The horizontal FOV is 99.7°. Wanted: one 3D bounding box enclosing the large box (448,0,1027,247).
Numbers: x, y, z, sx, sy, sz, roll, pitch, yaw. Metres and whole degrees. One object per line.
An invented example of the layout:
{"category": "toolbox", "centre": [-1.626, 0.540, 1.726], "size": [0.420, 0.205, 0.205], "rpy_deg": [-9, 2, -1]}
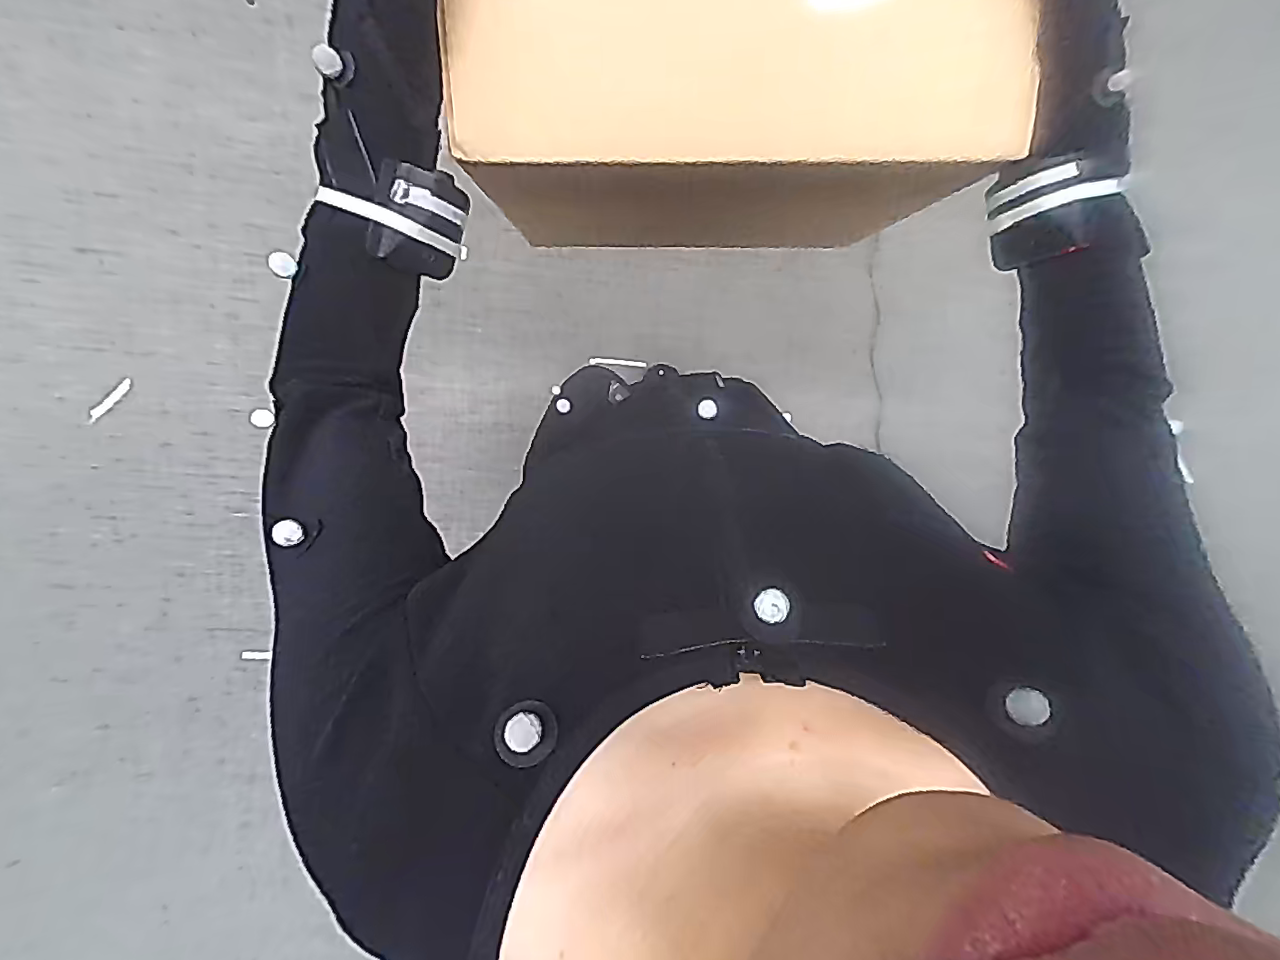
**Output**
{"category": "large box", "centre": [0.061, -0.415, 0.500], "size": [0.408, 0.320, 0.320], "rpy_deg": [-1, 103, -2]}
